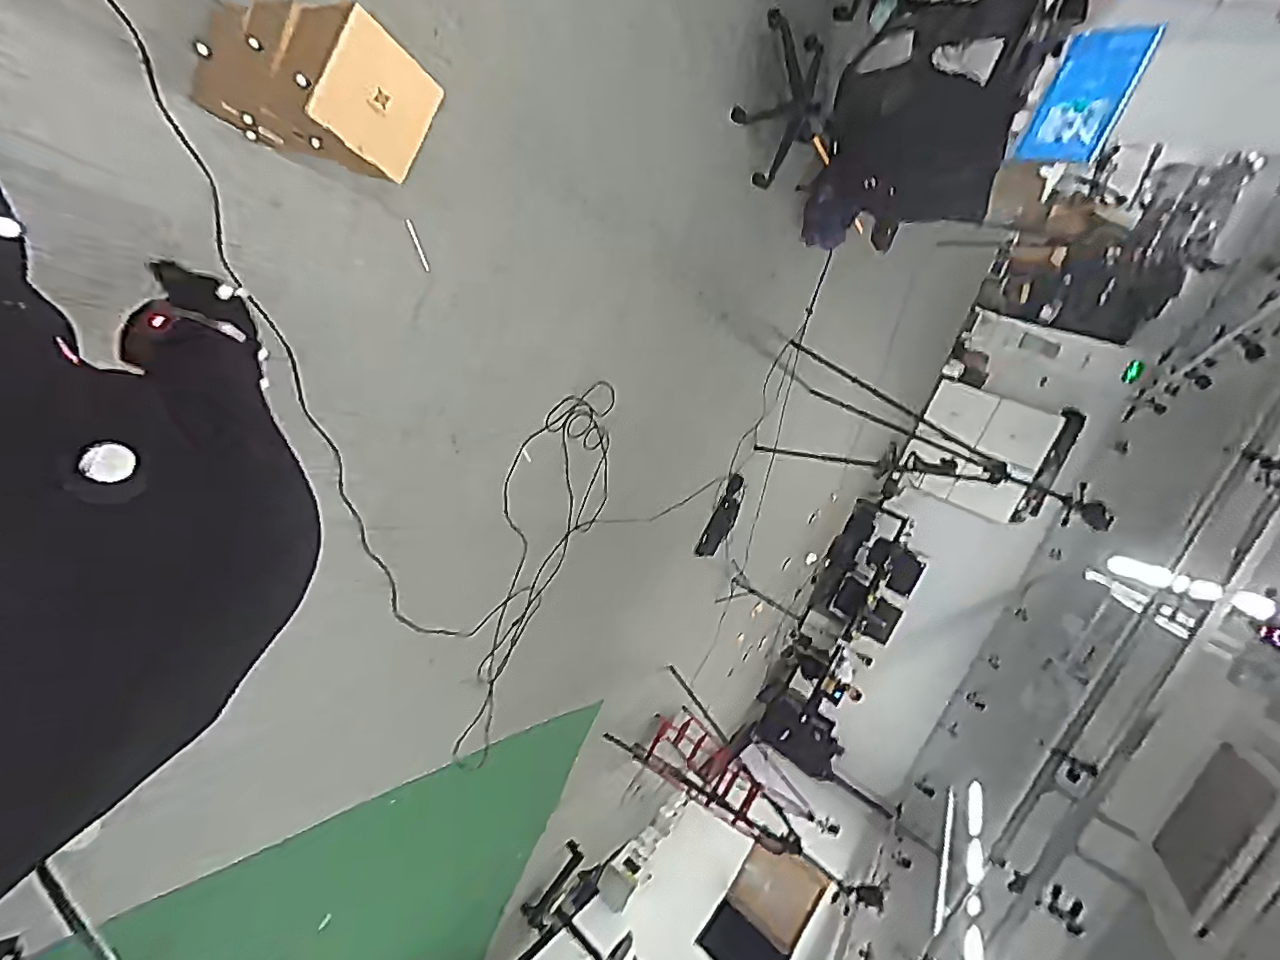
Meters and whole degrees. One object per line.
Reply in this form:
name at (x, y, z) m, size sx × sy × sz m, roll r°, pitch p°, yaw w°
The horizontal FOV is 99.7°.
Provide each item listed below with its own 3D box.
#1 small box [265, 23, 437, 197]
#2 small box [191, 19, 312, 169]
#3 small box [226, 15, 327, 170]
small box at (-0.484, -0.614, 0.902) m, size 0.168 × 0.176 × 0.179 m, roll 22°, pitch 97°, yaw -60°
small box at (-0.740, -0.752, 1.058) m, size 0.168 × 0.176 × 0.179 m, roll 4°, pitch 113°, yaw -60°
small box at (-0.610, -0.685, 0.977) m, size 0.168 × 0.176 × 0.179 m, roll 12°, pitch 104°, yaw -58°
